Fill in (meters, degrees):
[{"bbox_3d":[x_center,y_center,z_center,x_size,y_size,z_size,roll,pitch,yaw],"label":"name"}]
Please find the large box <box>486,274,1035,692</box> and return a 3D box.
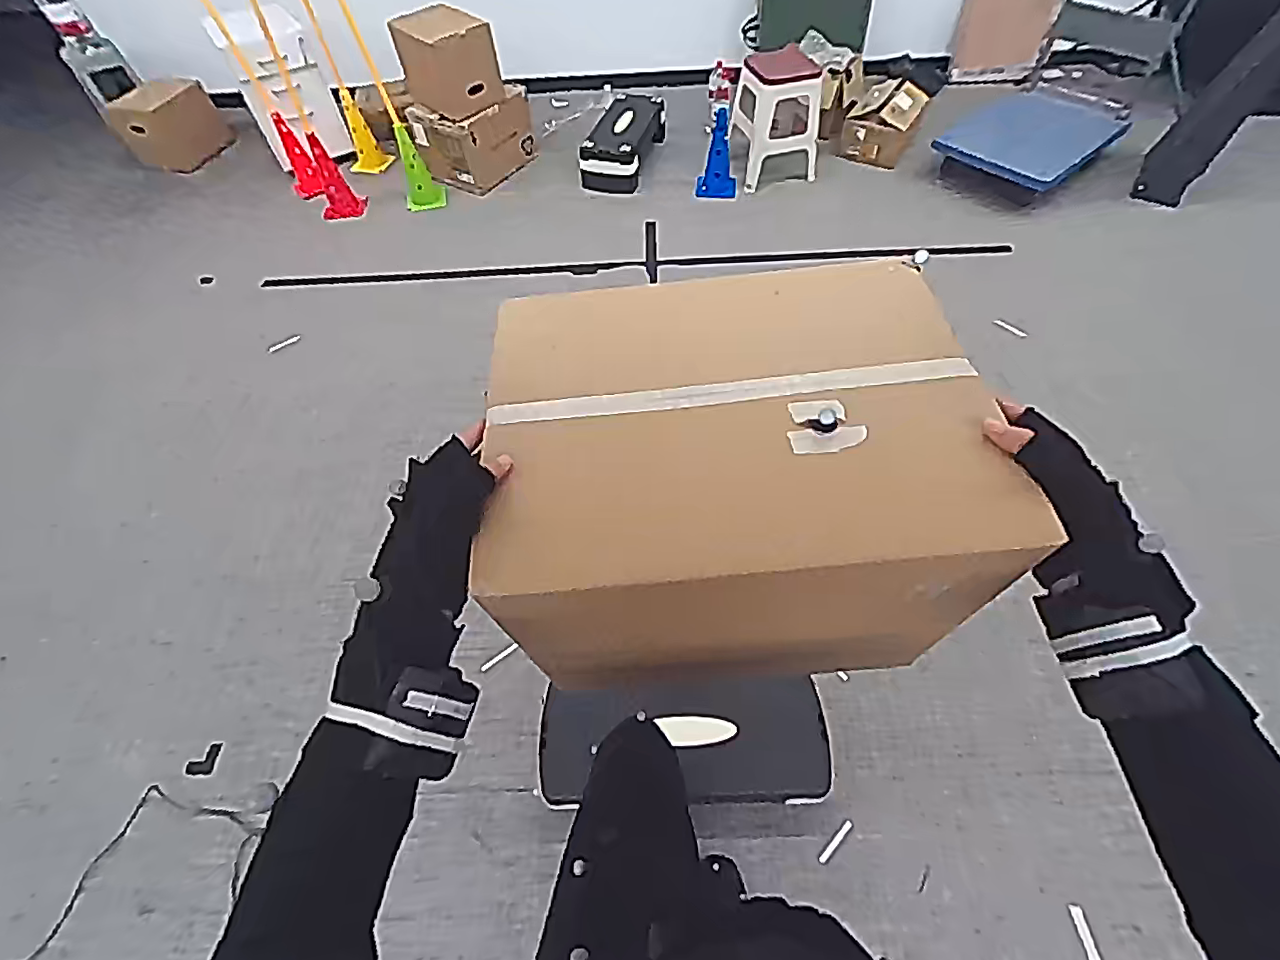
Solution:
[{"bbox_3d":[0.081,0.020,0.588,0.408,0.320,0.320,-5,57,1],"label":"large box"}]
